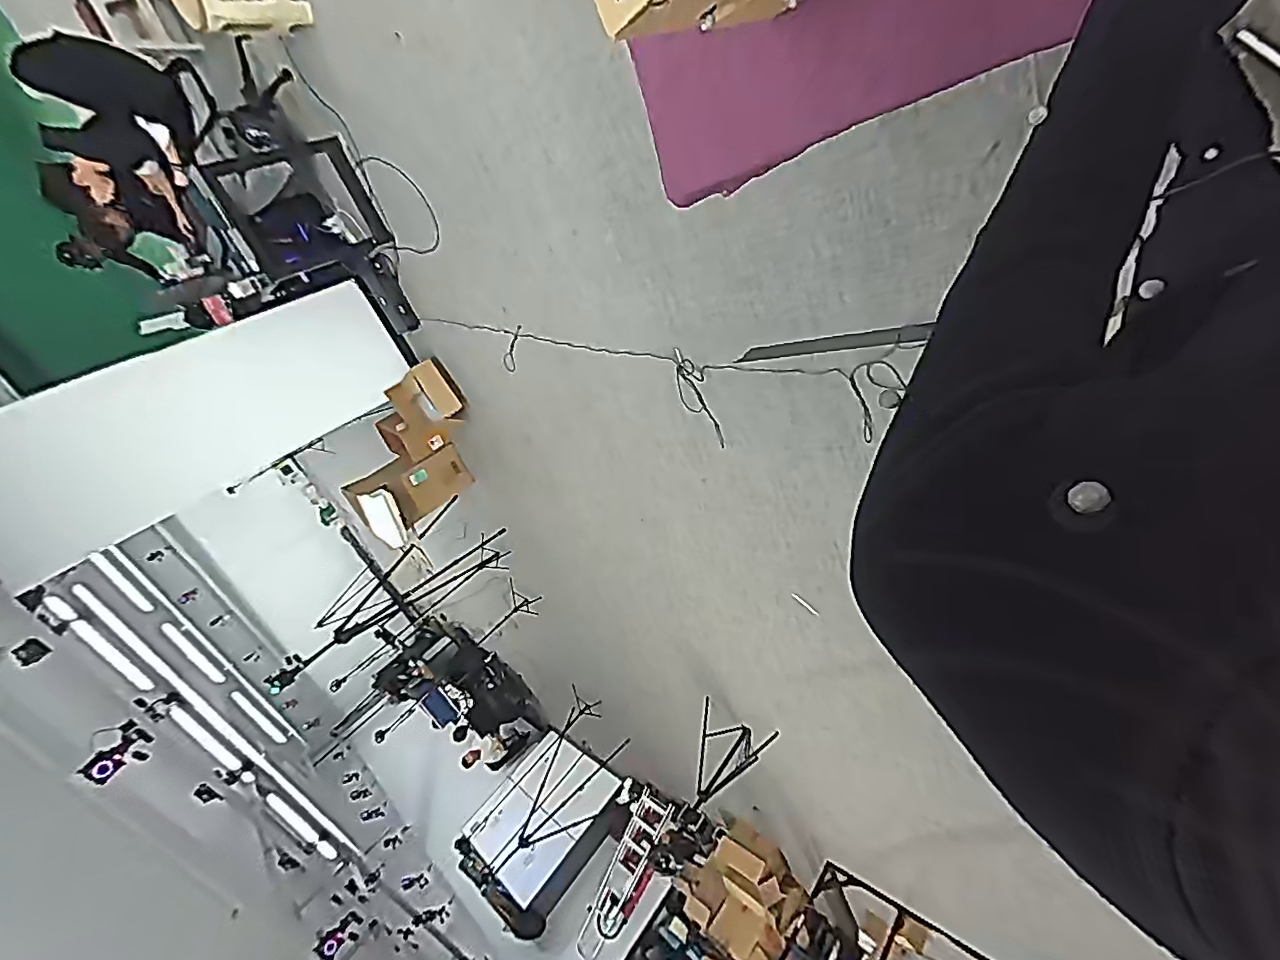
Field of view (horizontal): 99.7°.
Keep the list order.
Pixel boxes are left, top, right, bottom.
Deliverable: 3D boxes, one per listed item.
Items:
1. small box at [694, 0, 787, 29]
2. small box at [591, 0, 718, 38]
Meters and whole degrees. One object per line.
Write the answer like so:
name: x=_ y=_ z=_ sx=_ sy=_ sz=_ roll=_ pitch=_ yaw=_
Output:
small box: x=0.148 y=-0.652 z=0.601 sx=0.168 sy=0.176 sz=0.179 roll=8 pitch=129 yaw=45
small box: x=0.037 y=-0.571 z=0.511 sx=0.168 sy=0.176 sz=0.179 roll=3 pitch=125 yaw=48
